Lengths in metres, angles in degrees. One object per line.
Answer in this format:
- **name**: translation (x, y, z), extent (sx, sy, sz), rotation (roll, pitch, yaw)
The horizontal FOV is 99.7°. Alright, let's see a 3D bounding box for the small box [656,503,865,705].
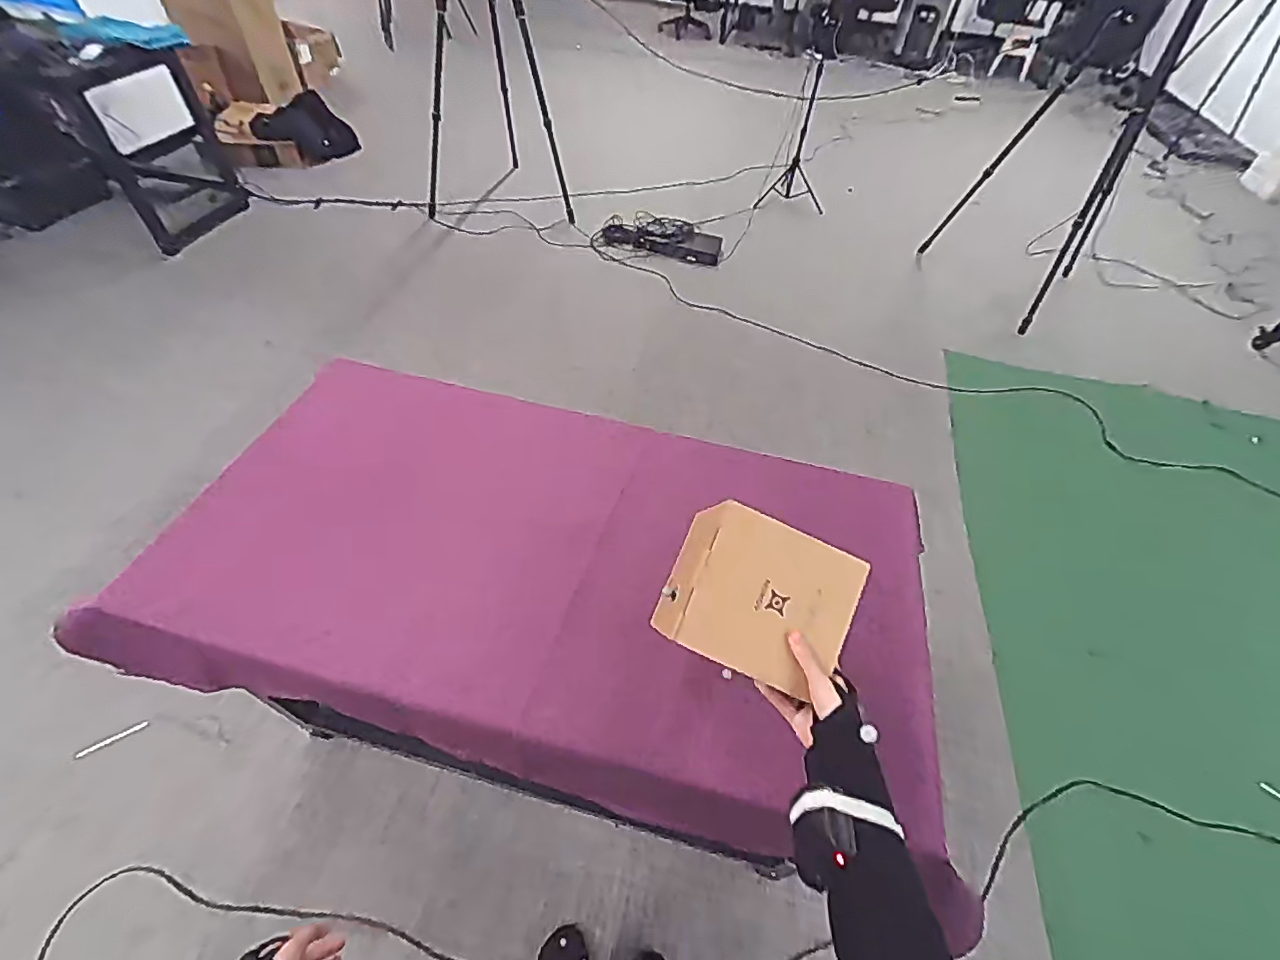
- **small box**: translation (0.133, 0.147, 0.662), extent (0.179, 0.176, 0.168), rotation (25, 78, -2)
